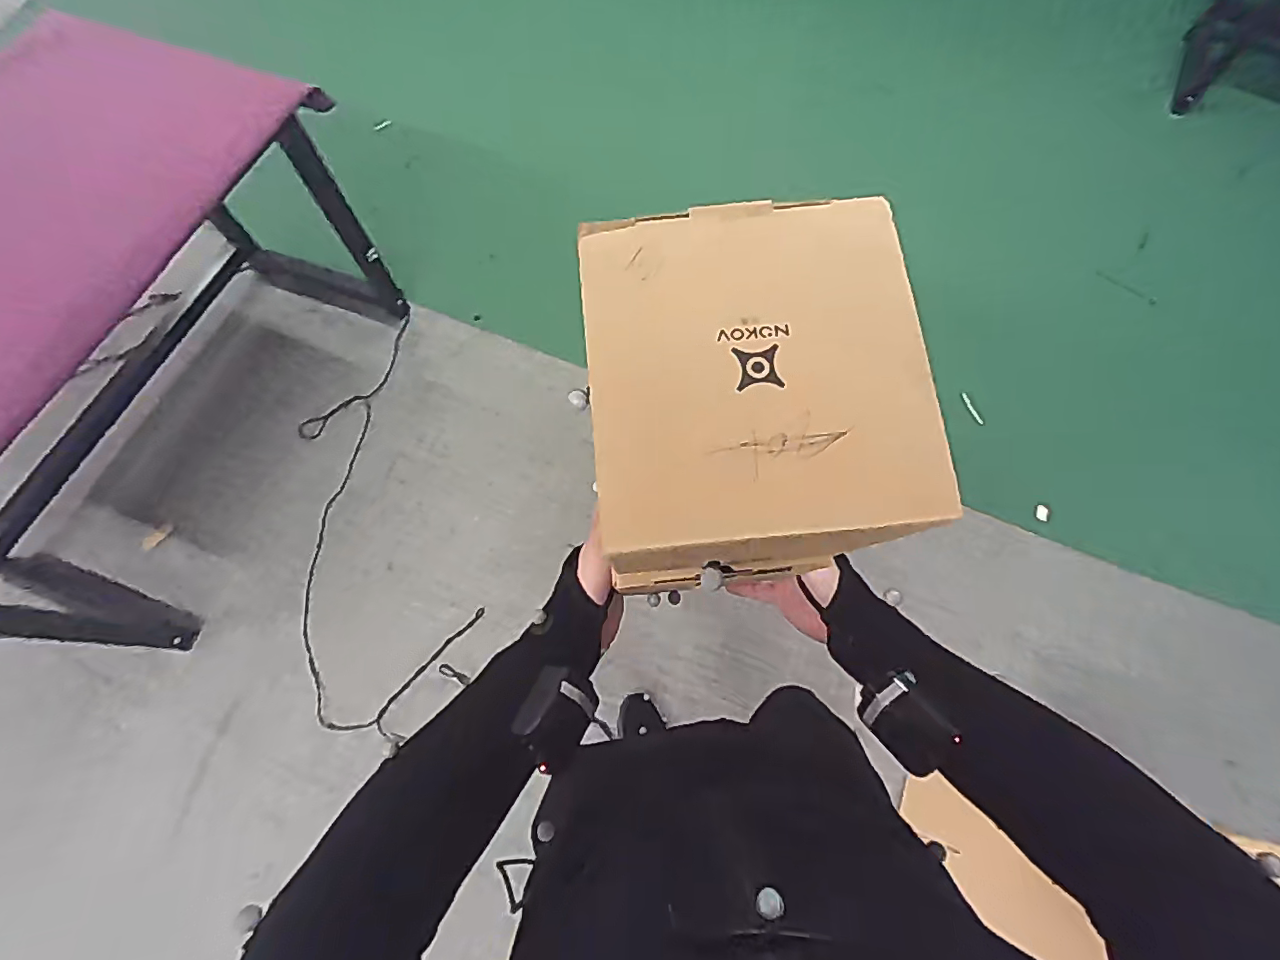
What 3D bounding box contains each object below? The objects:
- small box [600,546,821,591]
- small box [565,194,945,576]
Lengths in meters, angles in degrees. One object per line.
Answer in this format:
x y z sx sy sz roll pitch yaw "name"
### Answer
0.048 0.007 0.494 0.168 0.176 0.179 -6 75 -1 "small box"
0.048 -0.040 0.337 0.168 0.176 0.179 -6 76 0 "small box"
